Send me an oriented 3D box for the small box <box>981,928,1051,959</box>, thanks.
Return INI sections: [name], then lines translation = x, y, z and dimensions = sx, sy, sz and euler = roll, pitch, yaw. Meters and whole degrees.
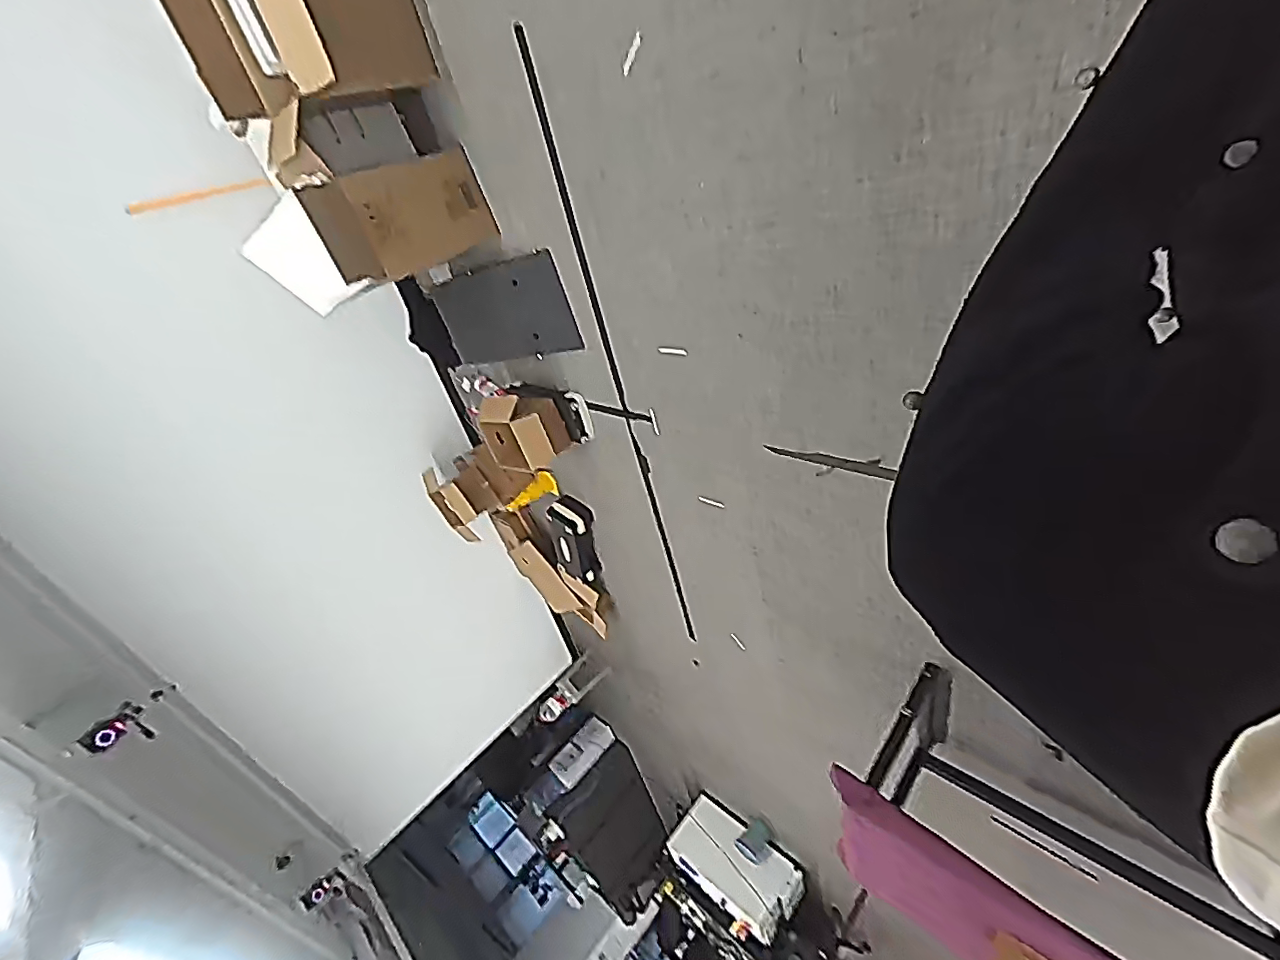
[small box]
translation = 1.120, 1.485, 1.604
dimensions = 0.179, 0.176, 0.168
euler = 17, 137, 44
